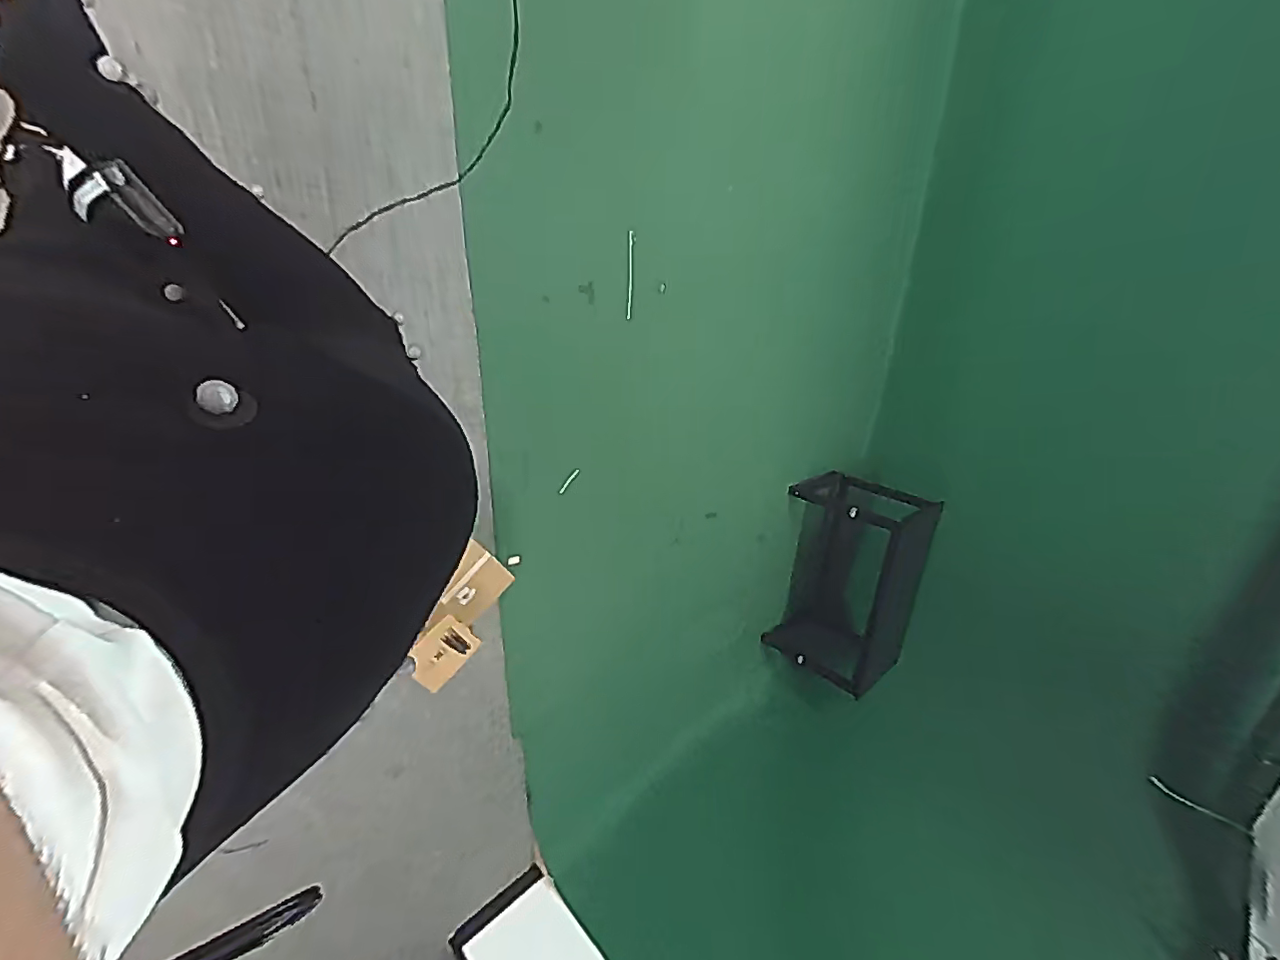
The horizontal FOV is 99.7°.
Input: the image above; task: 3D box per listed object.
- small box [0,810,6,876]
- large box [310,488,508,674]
[{"bbox_3d":[-1.234,0.717,0.934,0.168,0.176,0.179,6,102,-47],"label":"small box"},{"bbox_3d":[-0.702,0.300,1.662,0.408,0.320,0.320,-50,137,-19],"label":"large box"}]
